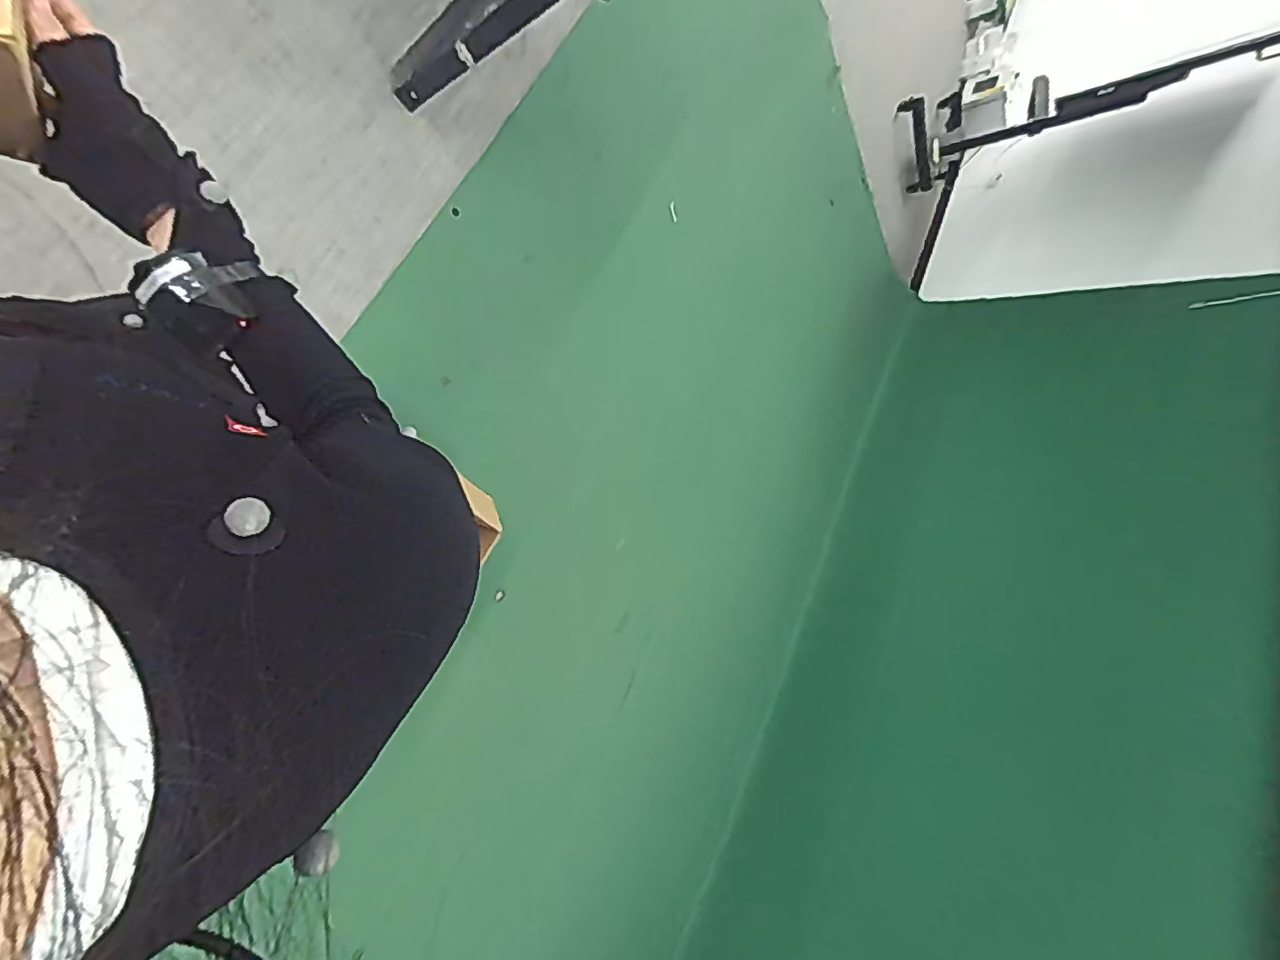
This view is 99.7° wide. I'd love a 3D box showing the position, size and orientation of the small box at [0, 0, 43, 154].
[{"bbox_3d":[-0.459,-0.324,0.296,0.168,0.176,0.179,-3,96,-44],"label":"small box"}]
